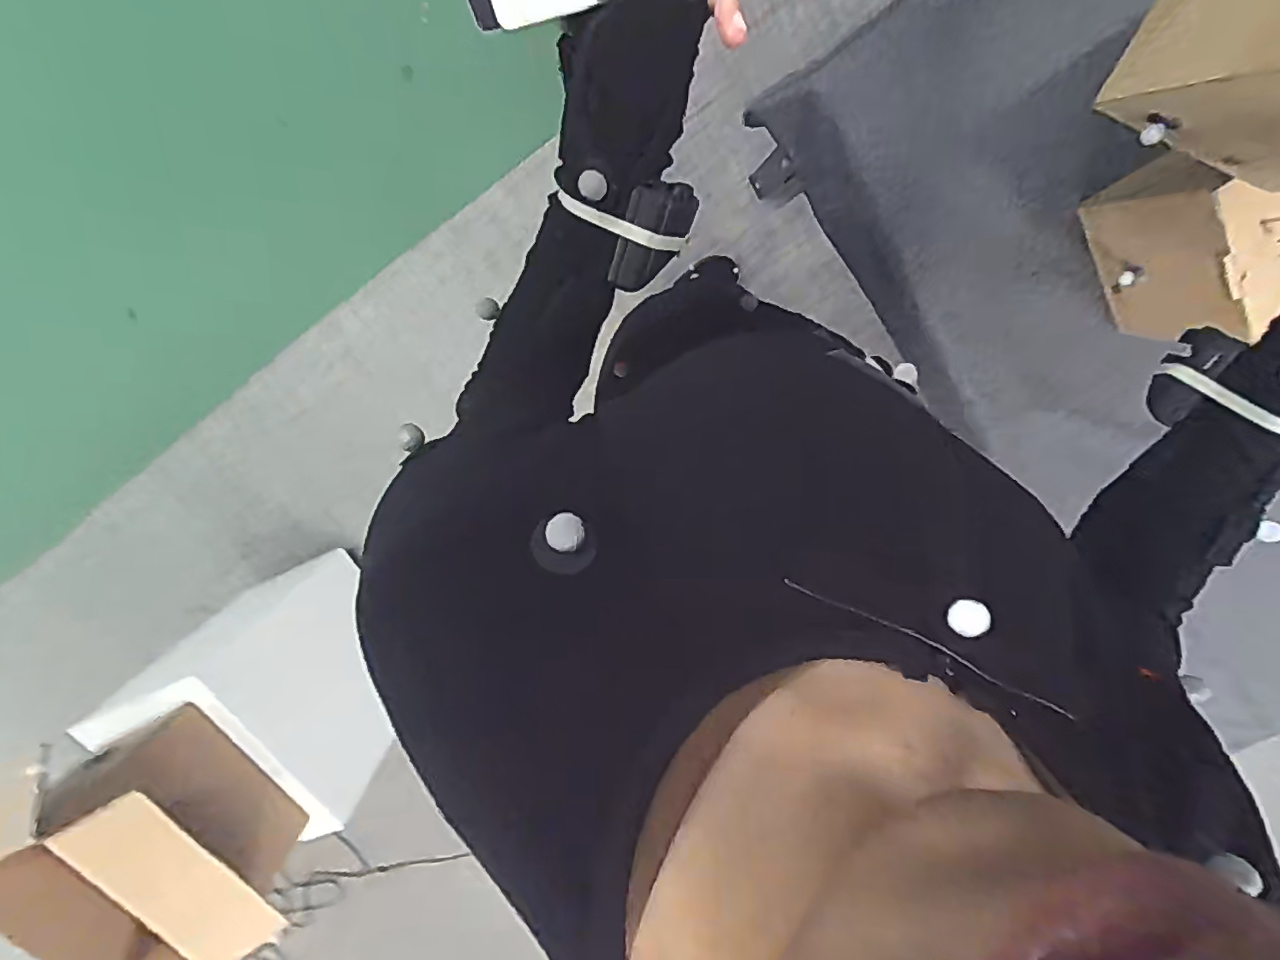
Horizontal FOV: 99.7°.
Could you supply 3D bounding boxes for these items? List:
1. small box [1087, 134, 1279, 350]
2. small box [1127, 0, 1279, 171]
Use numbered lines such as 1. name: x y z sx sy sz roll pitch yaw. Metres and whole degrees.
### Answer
1. small box: 0.602 -0.253 0.526 0.179 0.176 0.168 -31 107 14
2. small box: 0.417 -0.277 0.276 0.168 0.176 0.179 16 116 -8
